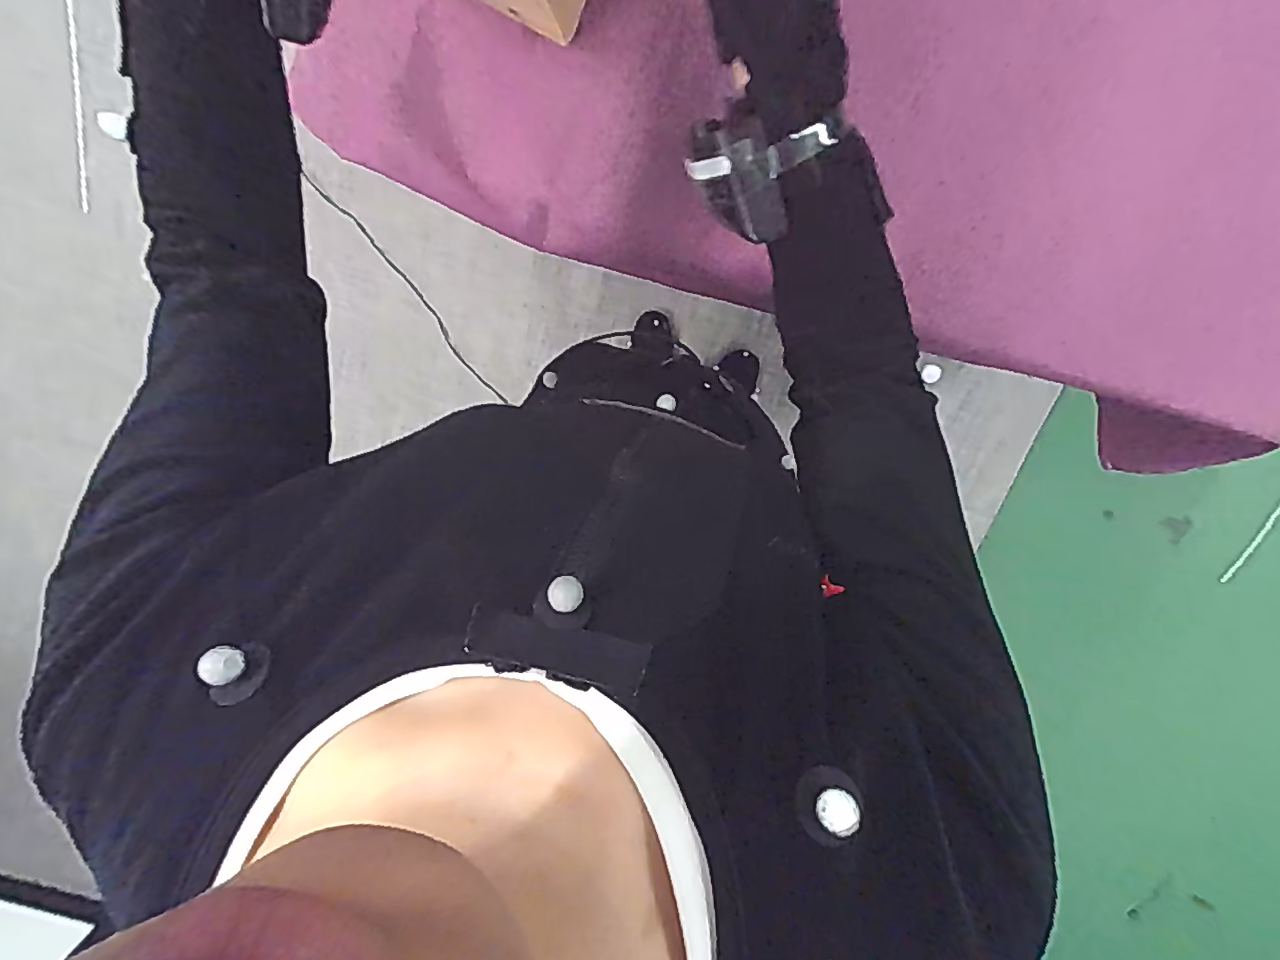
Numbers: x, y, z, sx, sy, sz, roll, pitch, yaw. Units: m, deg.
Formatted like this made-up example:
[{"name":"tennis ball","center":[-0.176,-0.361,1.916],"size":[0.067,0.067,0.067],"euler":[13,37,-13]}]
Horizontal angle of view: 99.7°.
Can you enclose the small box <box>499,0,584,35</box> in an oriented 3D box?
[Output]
[{"name":"small box","center":[-0.118,-0.549,0.474],"size":[0.168,0.176,0.179],"euler":[26,109,-4]}]
